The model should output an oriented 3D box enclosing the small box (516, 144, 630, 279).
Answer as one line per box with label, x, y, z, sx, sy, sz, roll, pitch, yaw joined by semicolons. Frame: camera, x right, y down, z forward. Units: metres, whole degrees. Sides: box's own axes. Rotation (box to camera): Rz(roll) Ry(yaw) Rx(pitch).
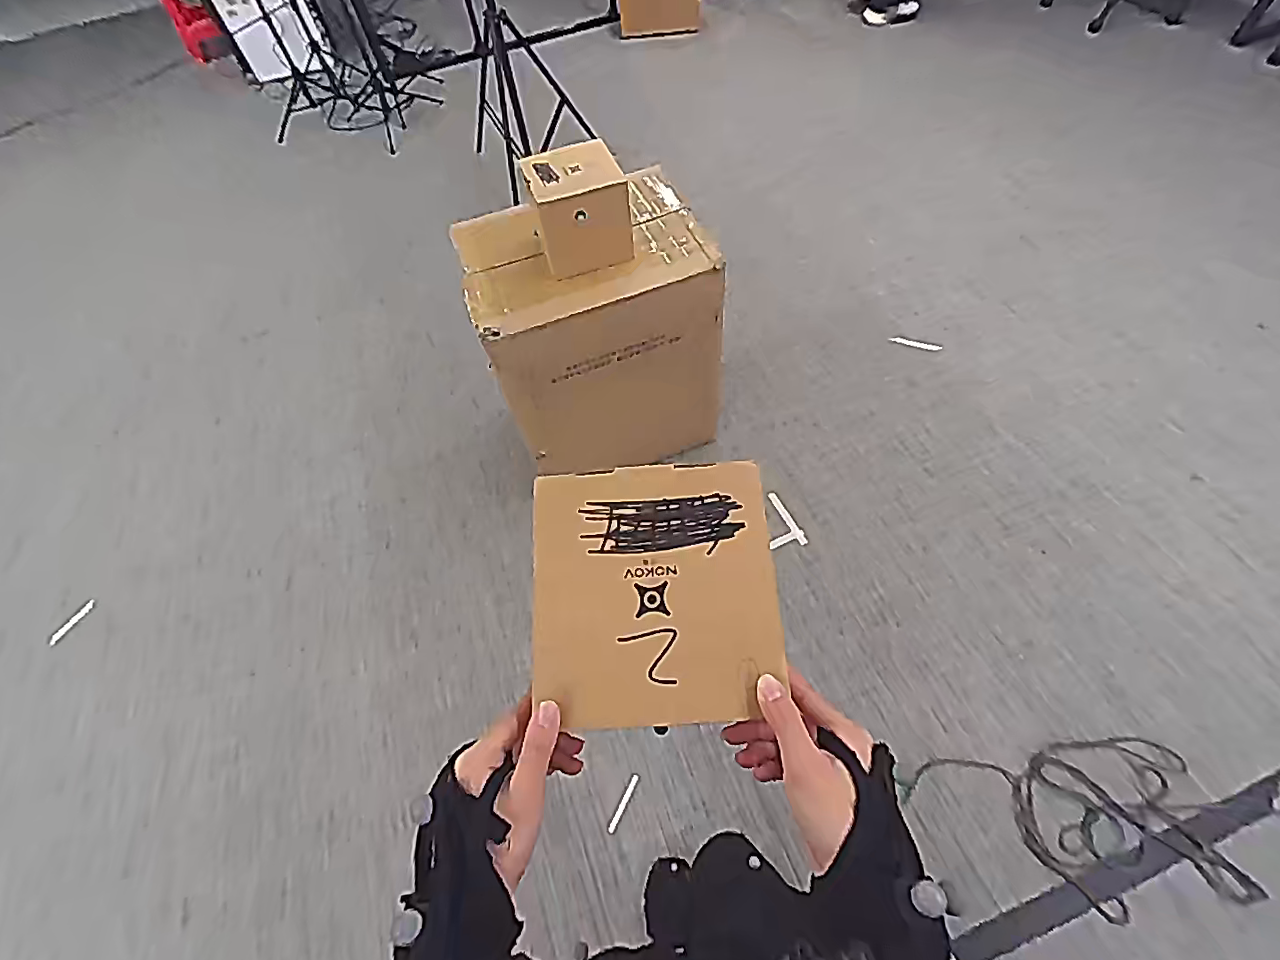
small box;-0.131;-0.536;1.094;0.179;0.176;0.168;-19;59;-7
